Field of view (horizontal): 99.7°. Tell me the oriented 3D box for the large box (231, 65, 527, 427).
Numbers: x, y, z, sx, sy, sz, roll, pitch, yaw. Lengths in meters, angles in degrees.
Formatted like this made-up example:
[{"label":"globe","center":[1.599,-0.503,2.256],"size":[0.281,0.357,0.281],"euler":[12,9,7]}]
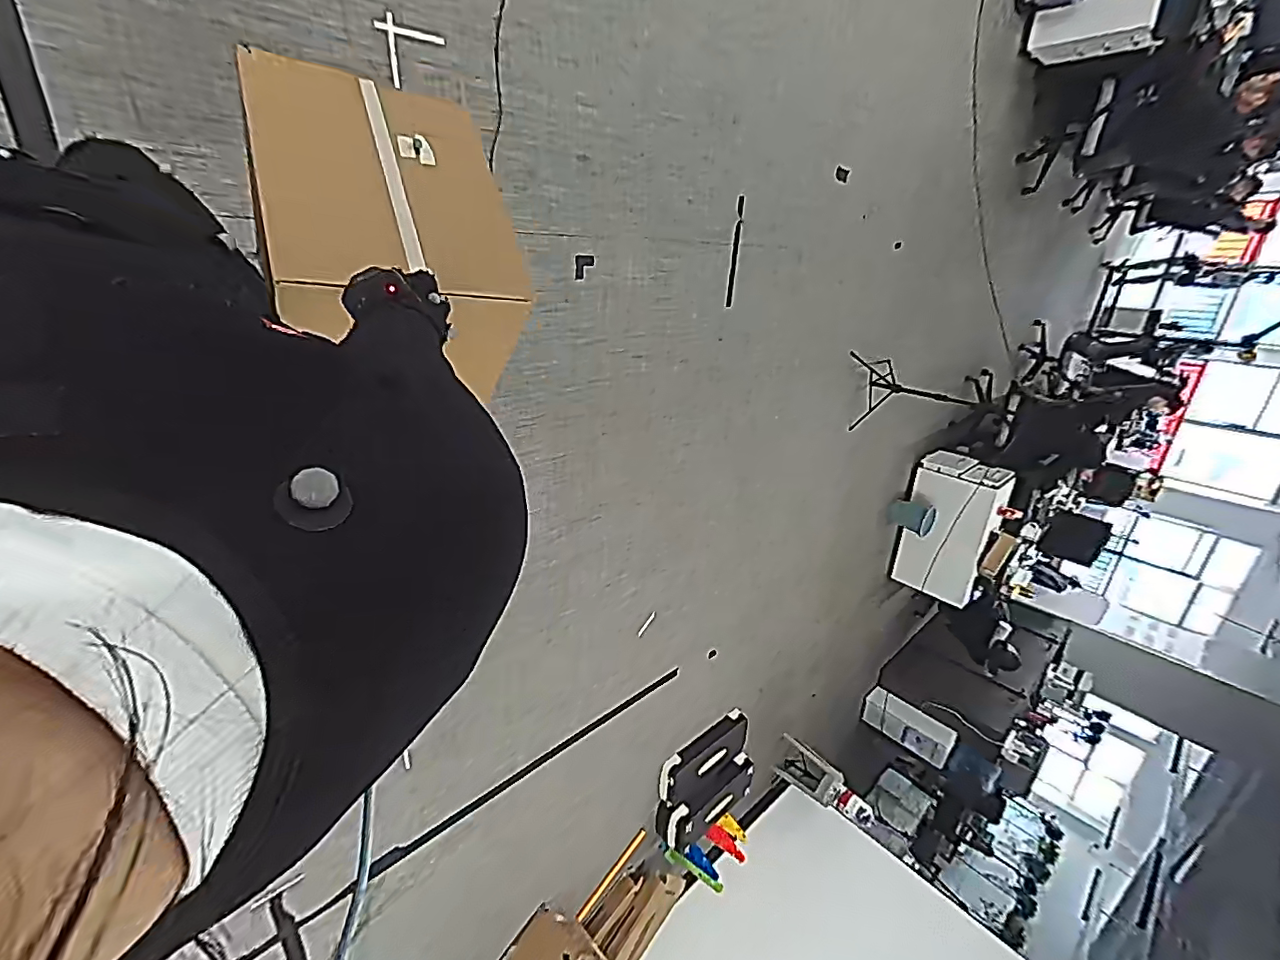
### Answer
[{"label":"large box","center":[-0.427,-0.341,0.870],"size":[0.320,0.408,0.320],"euler":[-8,157,-36]}]
